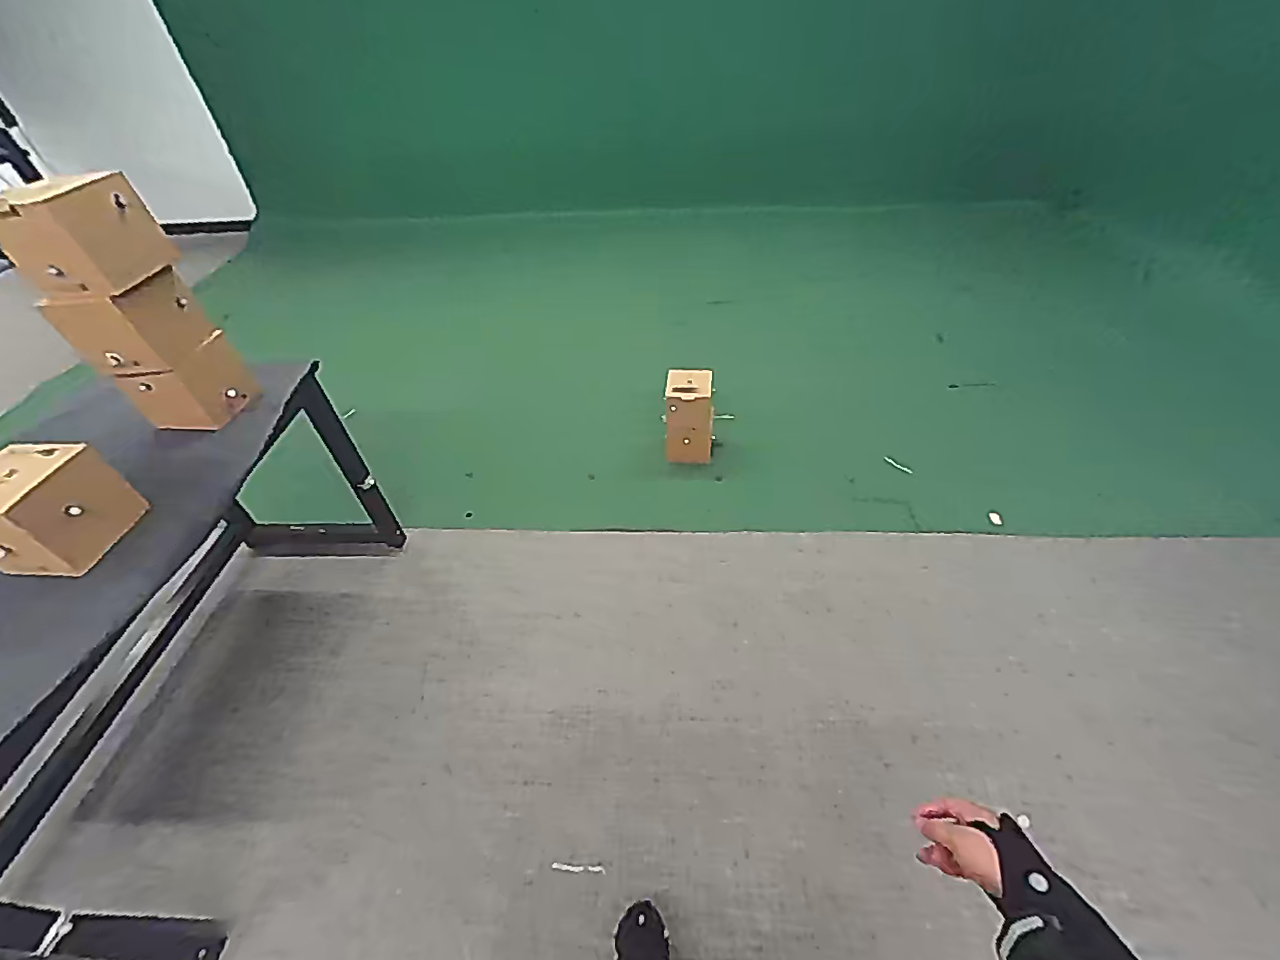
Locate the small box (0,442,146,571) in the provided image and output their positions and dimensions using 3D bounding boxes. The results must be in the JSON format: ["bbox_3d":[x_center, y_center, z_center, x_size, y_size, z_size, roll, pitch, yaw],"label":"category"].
[{"bbox_3d":[-1.068,0.050,0.976,0.168,0.176,0.179,1,46,7],"label":"small box"}]

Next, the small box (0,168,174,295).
[{"bbox_3d":[-1.051,-0.470,1.028,0.168,0.176,0.179,0,45,9],"label":"small box"}]

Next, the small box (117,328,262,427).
[{"bbox_3d":[-1.044,-0.238,1.259,0.179,0.176,0.168,3,46,9],"label":"small box"}]

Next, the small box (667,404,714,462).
[{"bbox_3d":[0.202,-0.185,2.161,0.179,0.176,0.168,3,46,7],"label":"small box"}]

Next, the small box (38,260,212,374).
[{"bbox_3d":[-1.059,-0.345,1.137,0.168,0.176,0.179,-4,46,5],"label":"small box"}]
